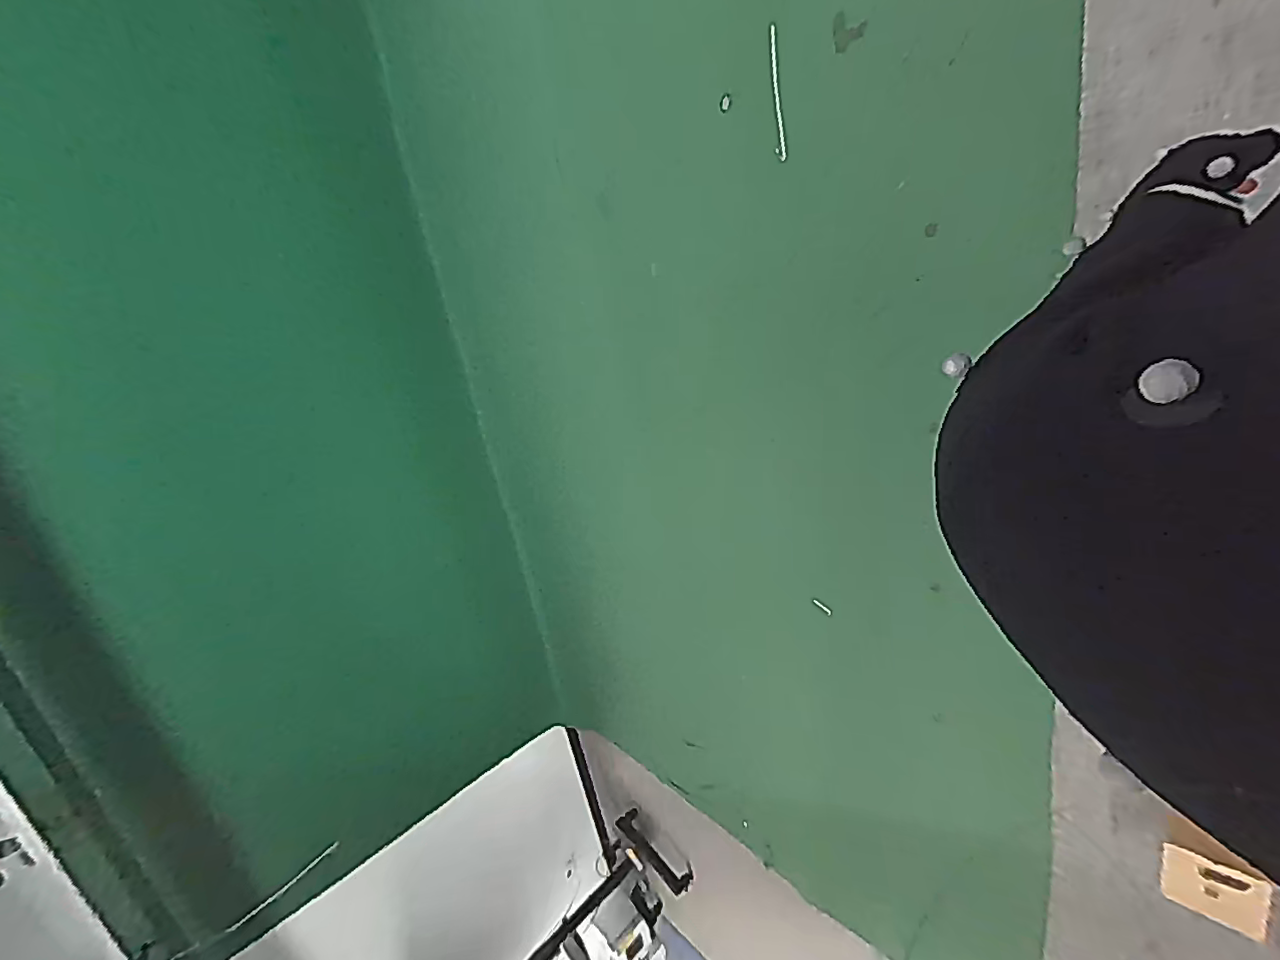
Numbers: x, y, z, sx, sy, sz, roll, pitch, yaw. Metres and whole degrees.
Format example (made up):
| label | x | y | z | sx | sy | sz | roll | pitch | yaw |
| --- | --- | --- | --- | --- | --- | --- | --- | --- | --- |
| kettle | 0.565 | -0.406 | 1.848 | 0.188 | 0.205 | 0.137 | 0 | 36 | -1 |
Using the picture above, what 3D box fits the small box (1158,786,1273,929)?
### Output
| label | x | y | z | sx | sy | sz | roll | pitch | yaw |
| --- | --- | --- | --- | --- | --- | --- | --- | --- | --- |
| small box | 1.334 | 0.860 | 1.255 | 0.168 | 0.176 | 0.179 | 8 | 116 | 50 |
